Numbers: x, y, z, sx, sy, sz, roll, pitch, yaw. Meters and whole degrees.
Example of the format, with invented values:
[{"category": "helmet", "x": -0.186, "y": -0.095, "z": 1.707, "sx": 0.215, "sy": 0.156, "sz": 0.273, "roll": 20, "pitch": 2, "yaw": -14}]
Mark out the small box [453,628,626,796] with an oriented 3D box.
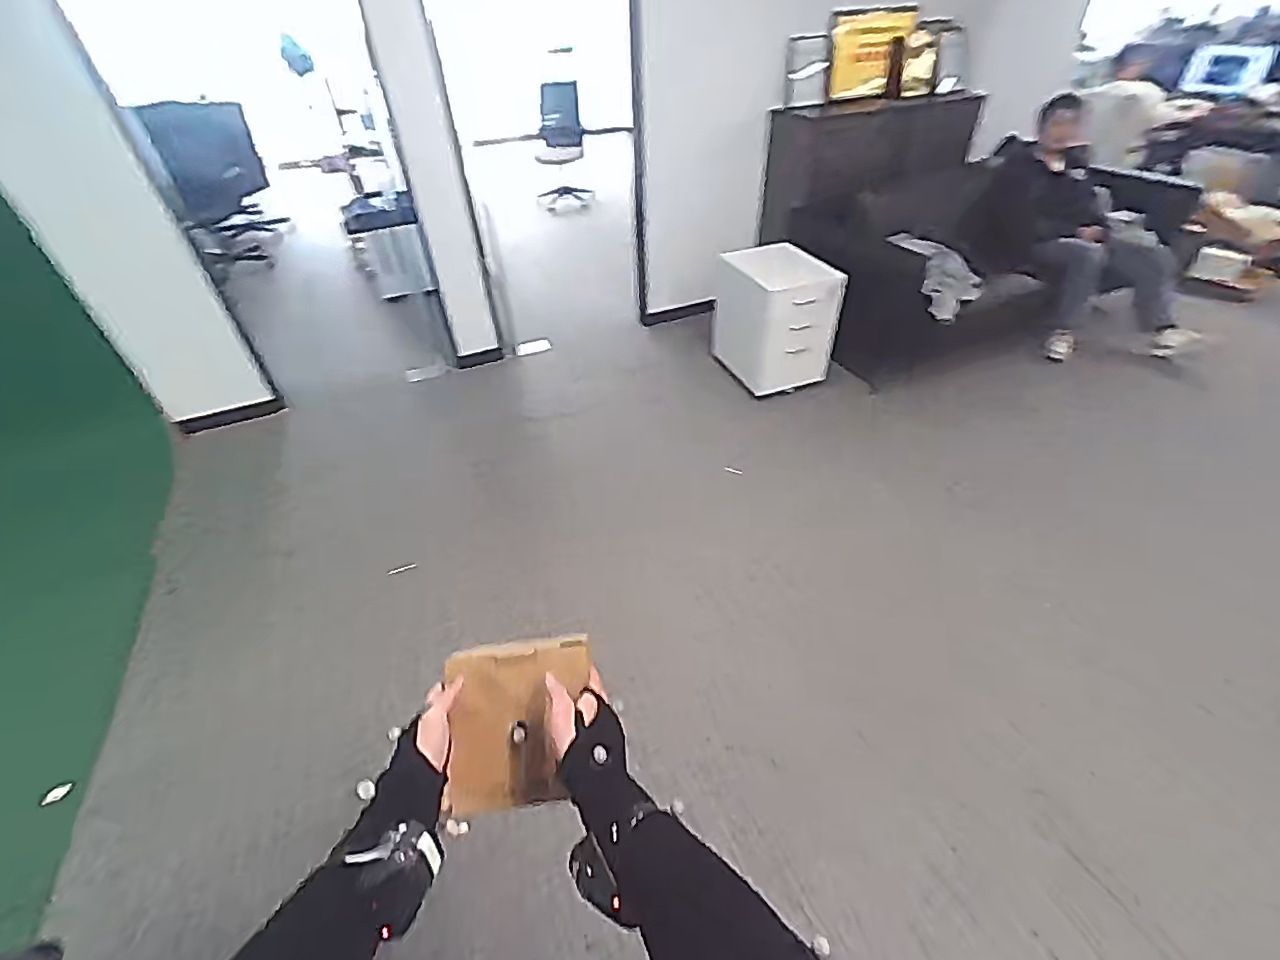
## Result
[{"category": "small box", "x": -0.136, "y": 0.297, "z": 0.716, "sx": 0.179, "sy": 0.168, "sz": 0.176, "roll": 4, "pitch": 73, "yaw": -34}]
